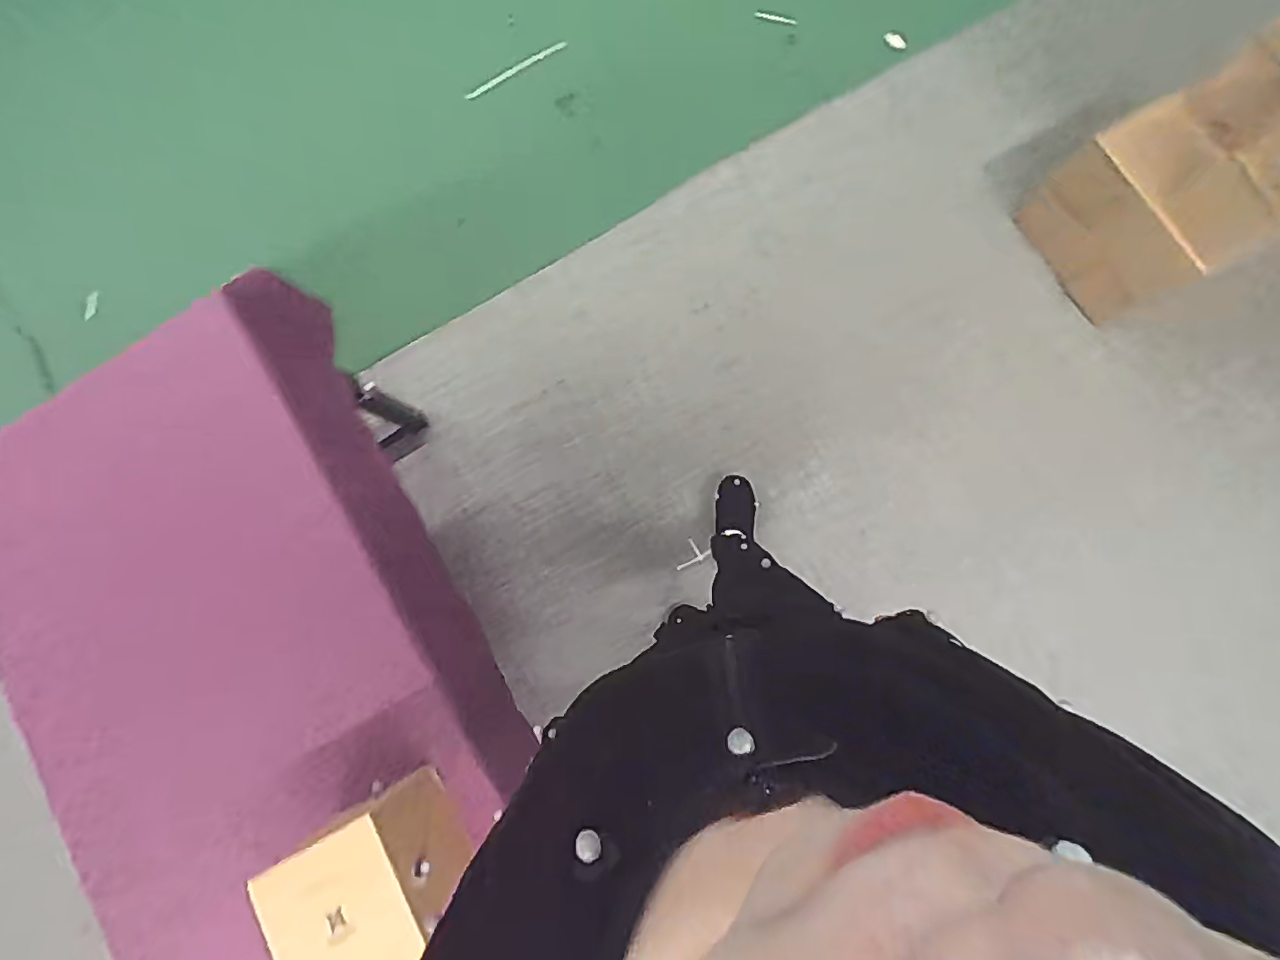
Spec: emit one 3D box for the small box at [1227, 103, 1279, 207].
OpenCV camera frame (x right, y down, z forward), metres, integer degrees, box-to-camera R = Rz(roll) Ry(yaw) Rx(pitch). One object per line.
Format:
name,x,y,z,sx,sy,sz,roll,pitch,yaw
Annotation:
small box,1.257,-0.641,0.977,0.179,0.176,0.168,-26,82,-1

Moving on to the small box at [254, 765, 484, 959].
small box,-0.327,0.508,0.688,0.168,0.176,0.179,-30,81,0
